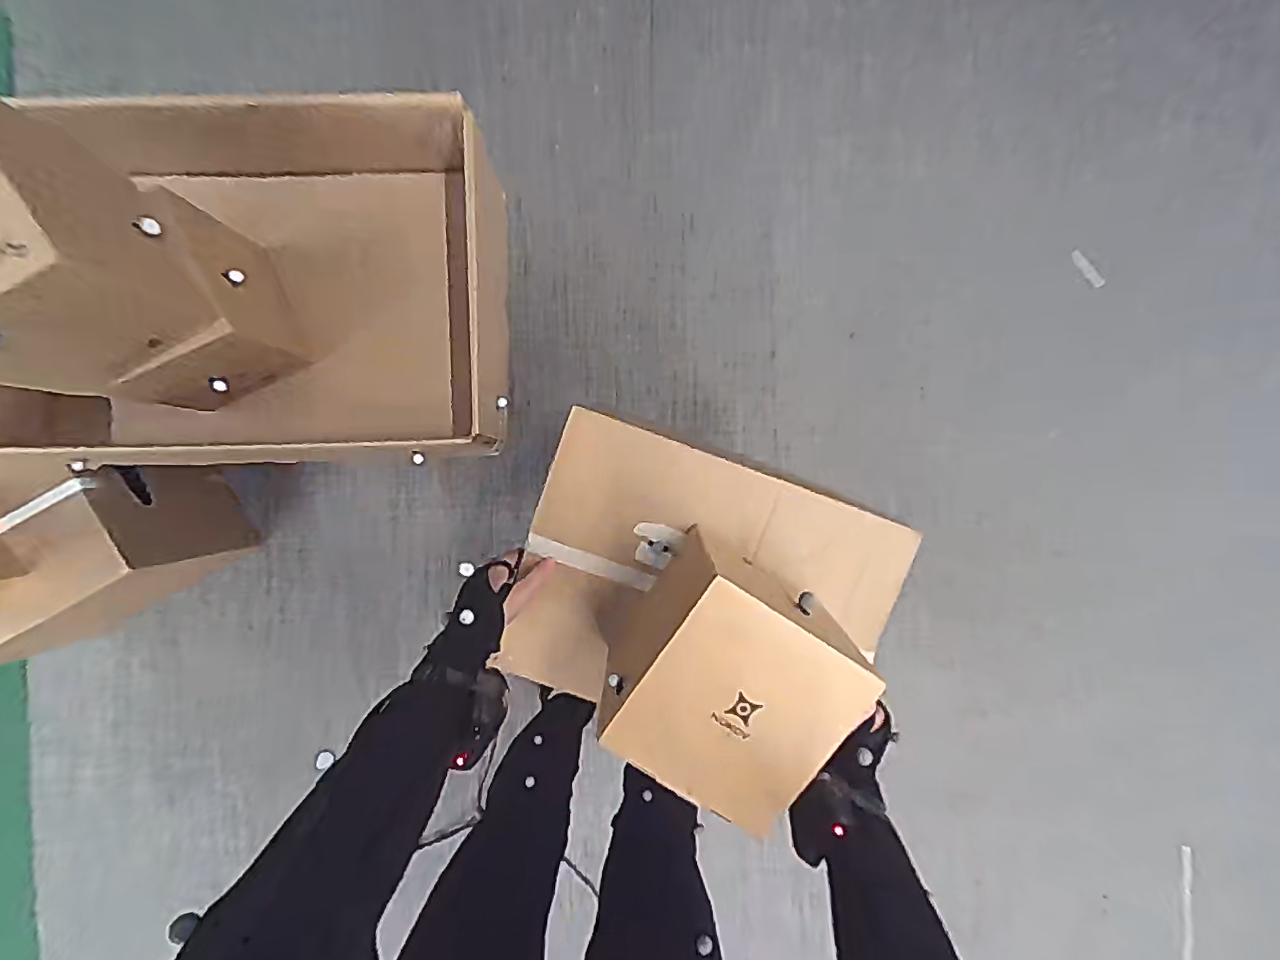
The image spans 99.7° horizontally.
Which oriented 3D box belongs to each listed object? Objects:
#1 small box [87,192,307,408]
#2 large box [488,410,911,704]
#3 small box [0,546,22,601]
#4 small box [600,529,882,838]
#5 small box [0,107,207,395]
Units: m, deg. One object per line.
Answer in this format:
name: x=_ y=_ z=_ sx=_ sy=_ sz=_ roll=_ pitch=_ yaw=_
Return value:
small box: x=-0.550 y=-0.197 z=0.653 sx=0.168 sy=0.176 sz=0.179 roll=-25 pitch=91 yaw=-2
large box: x=0.066 y=0.110 z=0.746 sx=0.408 sy=0.320 sz=0.320 roll=19 pitch=97 yaw=-1
small box: x=-1.051 y=0.130 z=0.745 sx=0.168 sy=0.176 sz=0.179 roll=-34 pitch=91 yaw=0
small box: x=0.079 y=0.170 z=0.508 sx=0.168 sy=0.176 sz=0.179 roll=33 pitch=99 yaw=-5
small box: x=-0.561 y=-0.198 z=0.488 sx=0.168 sy=0.176 sz=0.179 roll=-31 pitch=91 yaw=-1
